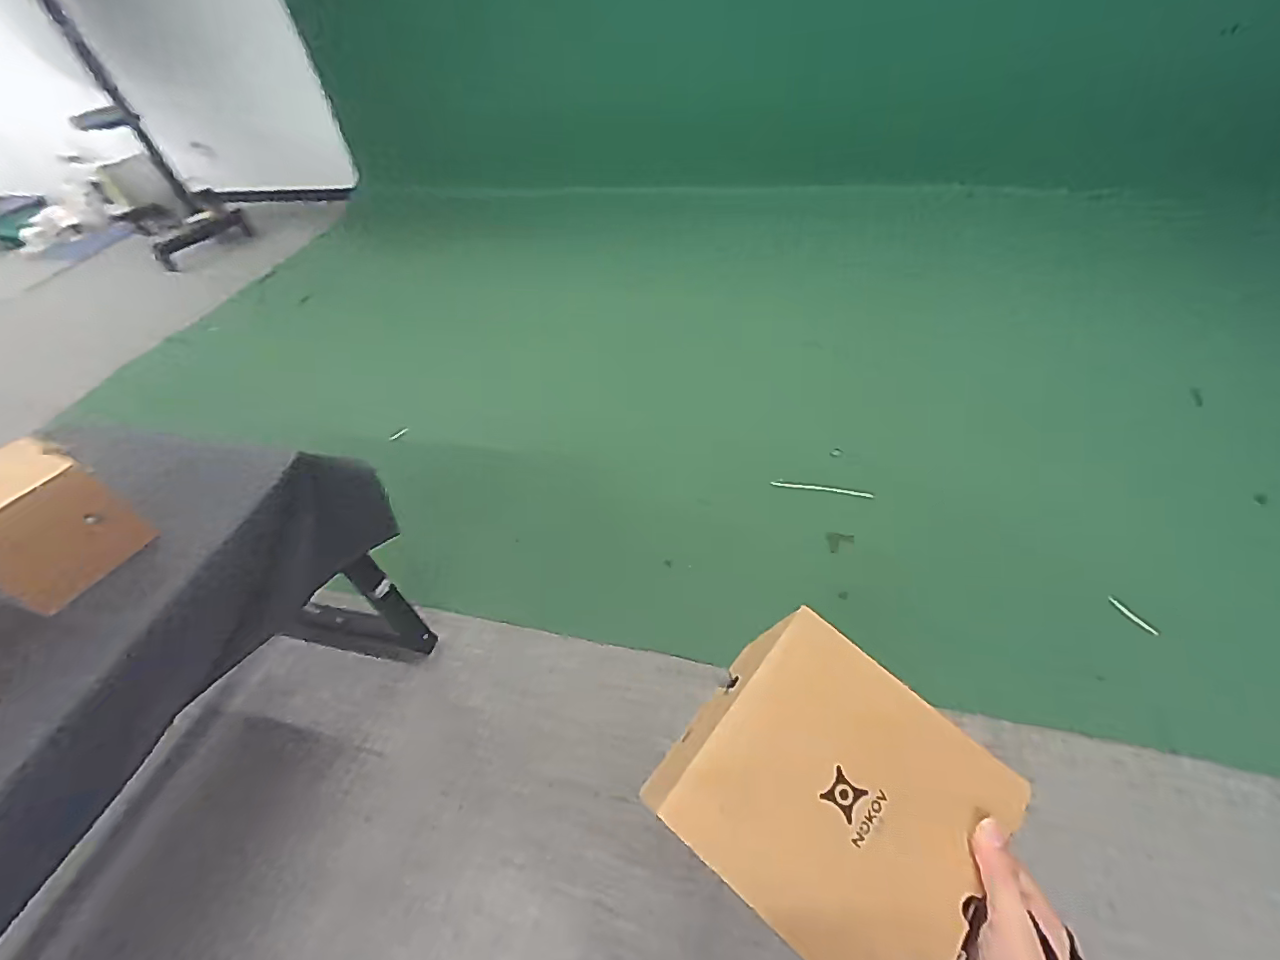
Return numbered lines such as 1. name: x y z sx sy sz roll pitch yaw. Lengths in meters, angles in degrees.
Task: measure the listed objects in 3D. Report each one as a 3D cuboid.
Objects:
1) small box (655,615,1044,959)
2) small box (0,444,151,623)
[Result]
1. small box: 0.128 0.233 0.396 0.179 0.176 0.168 39 66 13
2. small box: -0.900 0.080 0.811 0.168 0.176 0.179 17 53 24
